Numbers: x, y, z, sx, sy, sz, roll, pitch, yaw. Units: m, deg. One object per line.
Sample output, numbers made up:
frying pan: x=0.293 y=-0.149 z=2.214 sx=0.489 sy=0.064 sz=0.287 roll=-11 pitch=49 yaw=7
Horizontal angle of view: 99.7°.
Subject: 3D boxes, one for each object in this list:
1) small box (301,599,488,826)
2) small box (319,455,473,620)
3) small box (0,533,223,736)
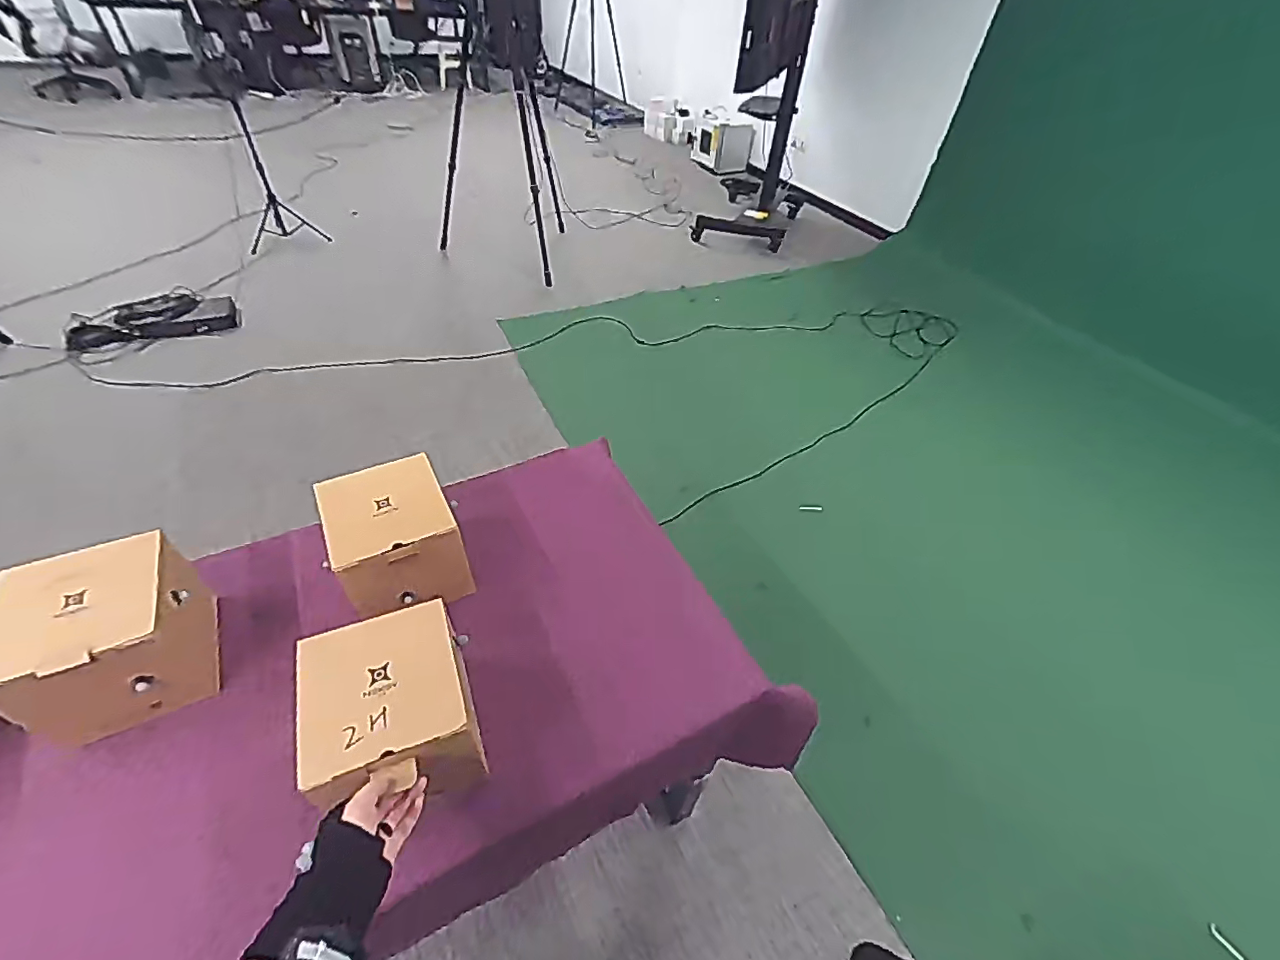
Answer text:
small box: x=-0.294 y=0.282 z=0.663 sx=0.168 sy=0.176 sz=0.179 roll=-15 pitch=48 yaw=-18
small box: x=-0.375 y=0.095 z=0.844 sx=0.168 sy=0.176 sz=0.179 roll=-21 pitch=51 yaw=-23
small box: x=-0.676 y=0.206 z=0.707 sx=0.168 sy=0.176 sz=0.179 roll=-18 pitch=49 yaw=-23
